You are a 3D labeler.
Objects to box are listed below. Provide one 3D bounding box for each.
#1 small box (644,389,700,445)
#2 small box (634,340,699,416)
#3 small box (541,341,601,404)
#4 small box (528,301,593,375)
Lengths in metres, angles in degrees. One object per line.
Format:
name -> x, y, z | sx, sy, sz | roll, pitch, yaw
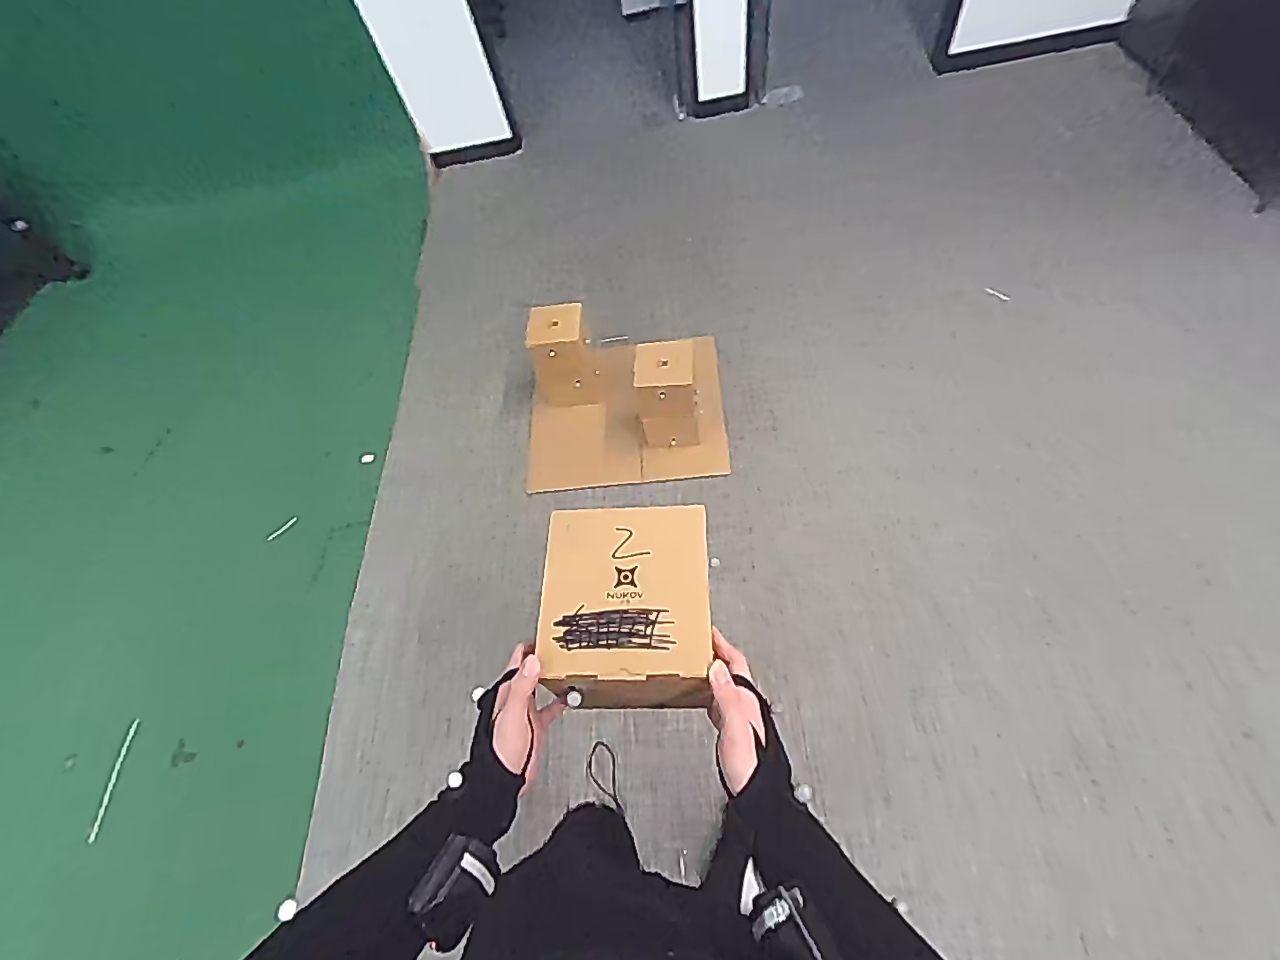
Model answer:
small box -> 0.112, -0.228, 1.799 | 0.179, 0.176, 0.168 | -3, 61, 8
small box -> 0.086, -0.308, 1.658 | 0.179, 0.176, 0.168 | -1, 62, 9
small box -> -0.240, -0.391, 1.943 | 0.179, 0.176, 0.168 | -4, 61, 8
small box -> -0.258, -0.468, 1.801 | 0.179, 0.176, 0.168 | -4, 62, 8
